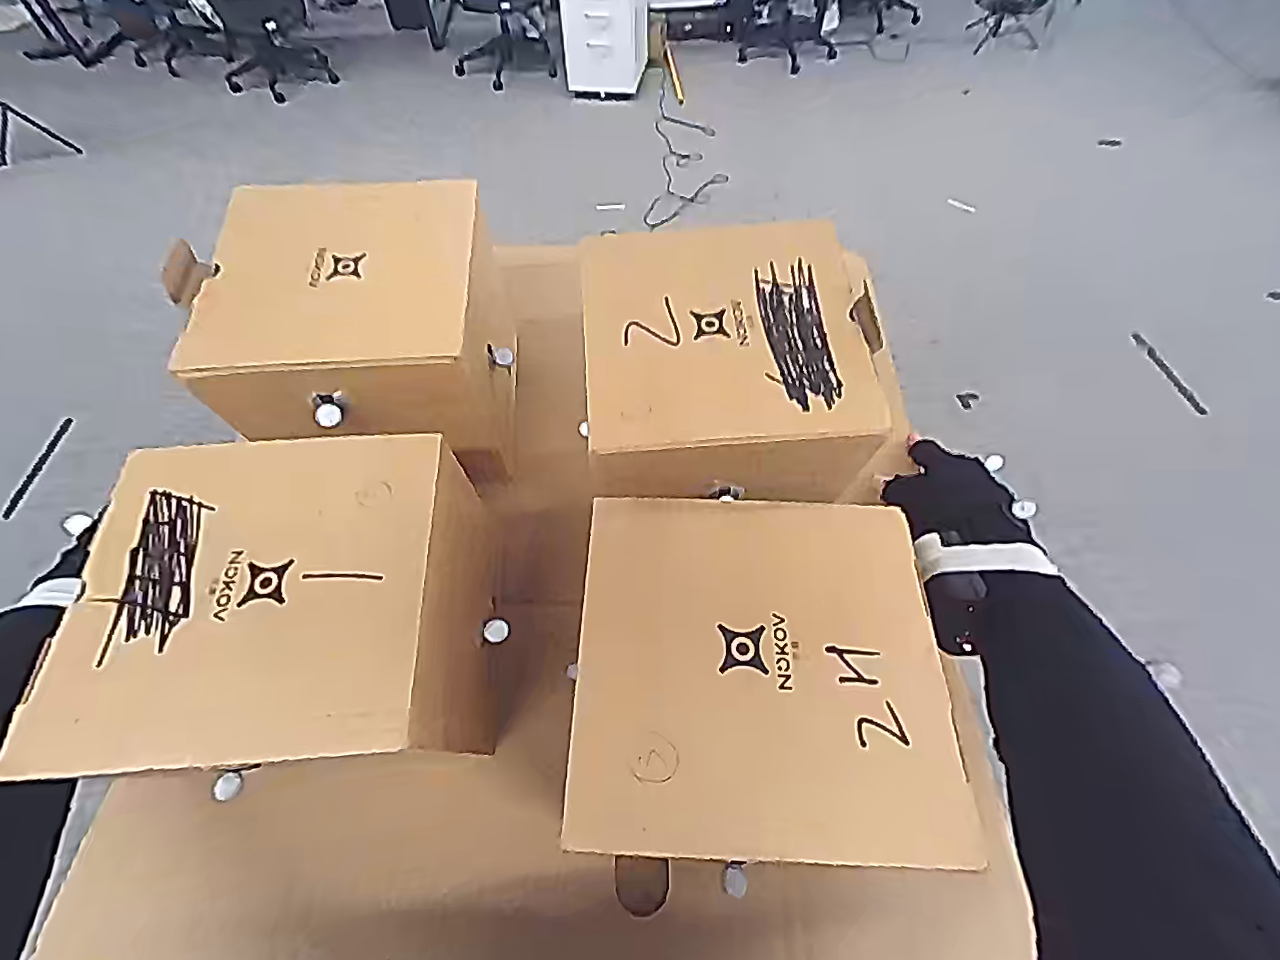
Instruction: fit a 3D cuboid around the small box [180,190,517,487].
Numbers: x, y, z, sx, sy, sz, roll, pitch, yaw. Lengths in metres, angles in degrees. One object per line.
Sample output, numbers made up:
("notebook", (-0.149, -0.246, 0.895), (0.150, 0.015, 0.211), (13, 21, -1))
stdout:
("small box", (-0.202, -0.105, 0.441), (0.179, 0.176, 0.168), (-4, 63, -2))
